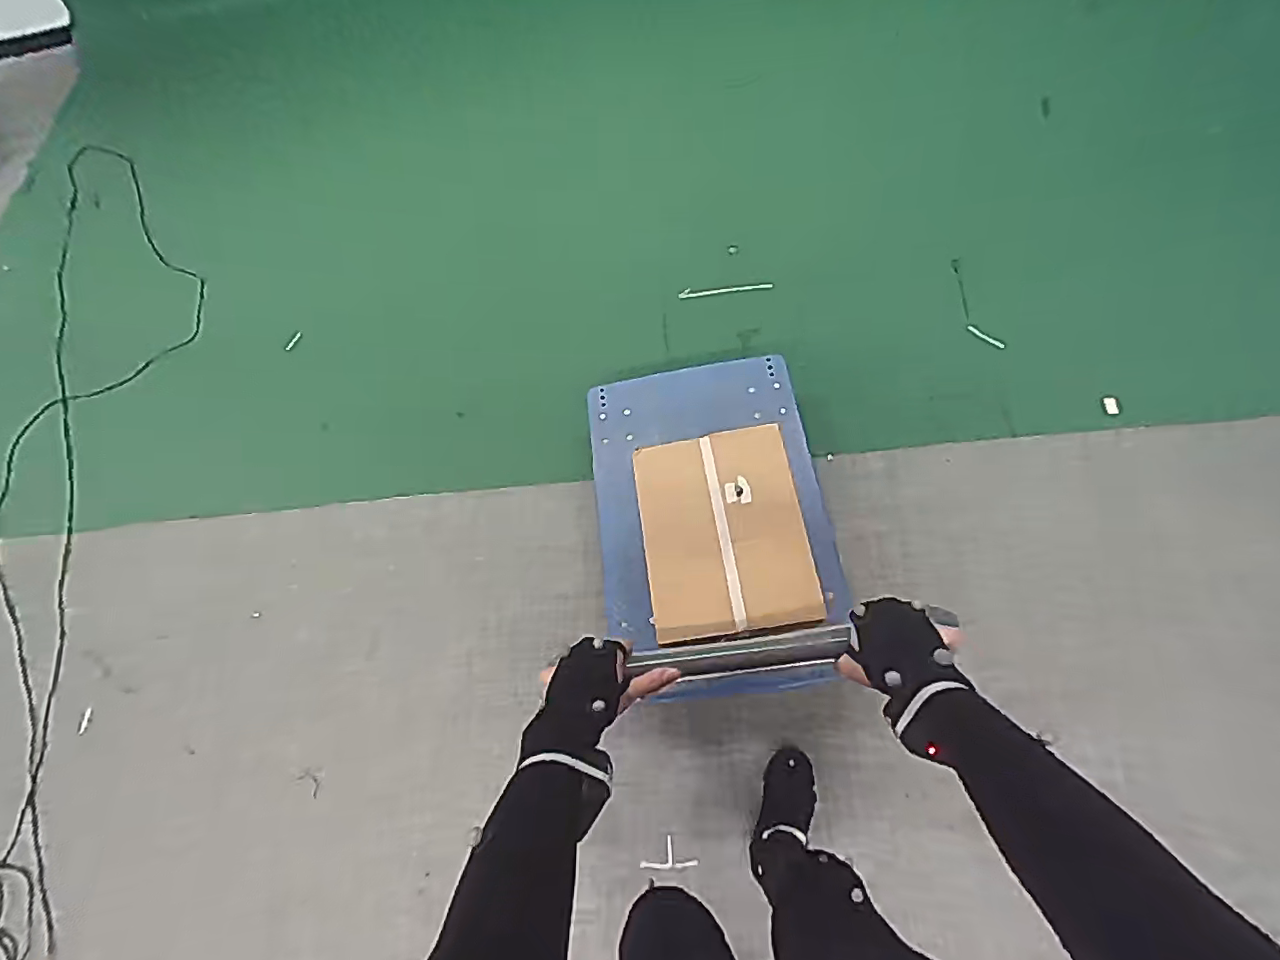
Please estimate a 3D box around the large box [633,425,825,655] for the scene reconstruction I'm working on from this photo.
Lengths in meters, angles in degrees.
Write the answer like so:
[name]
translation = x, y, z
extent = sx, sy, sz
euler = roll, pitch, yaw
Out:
[large box]
translation = 0.186, 0.149, 1.199
extent = 0.320, 0.320, 0.408
euler = -10, 66, 5
